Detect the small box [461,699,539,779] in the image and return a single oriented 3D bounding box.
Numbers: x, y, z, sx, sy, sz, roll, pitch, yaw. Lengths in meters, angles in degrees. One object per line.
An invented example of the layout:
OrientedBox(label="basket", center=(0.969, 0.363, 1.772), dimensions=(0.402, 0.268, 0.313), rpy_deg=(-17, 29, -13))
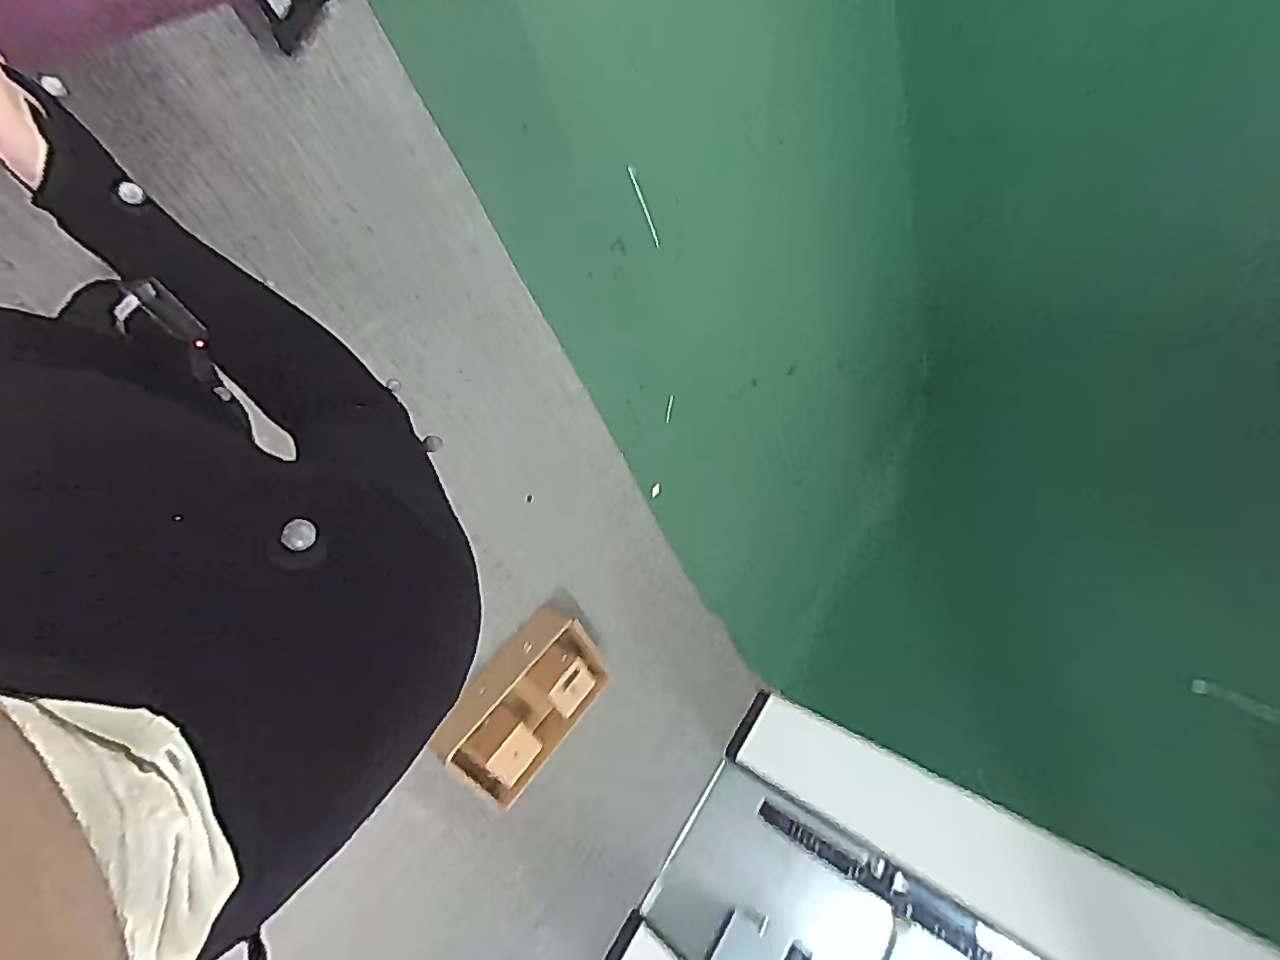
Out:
OrientedBox(label="small box", center=(-0.502, 0.921, 1.940), dimensions=(0.168, 0.176, 0.179), rpy_deg=(-47, 130, -29))
